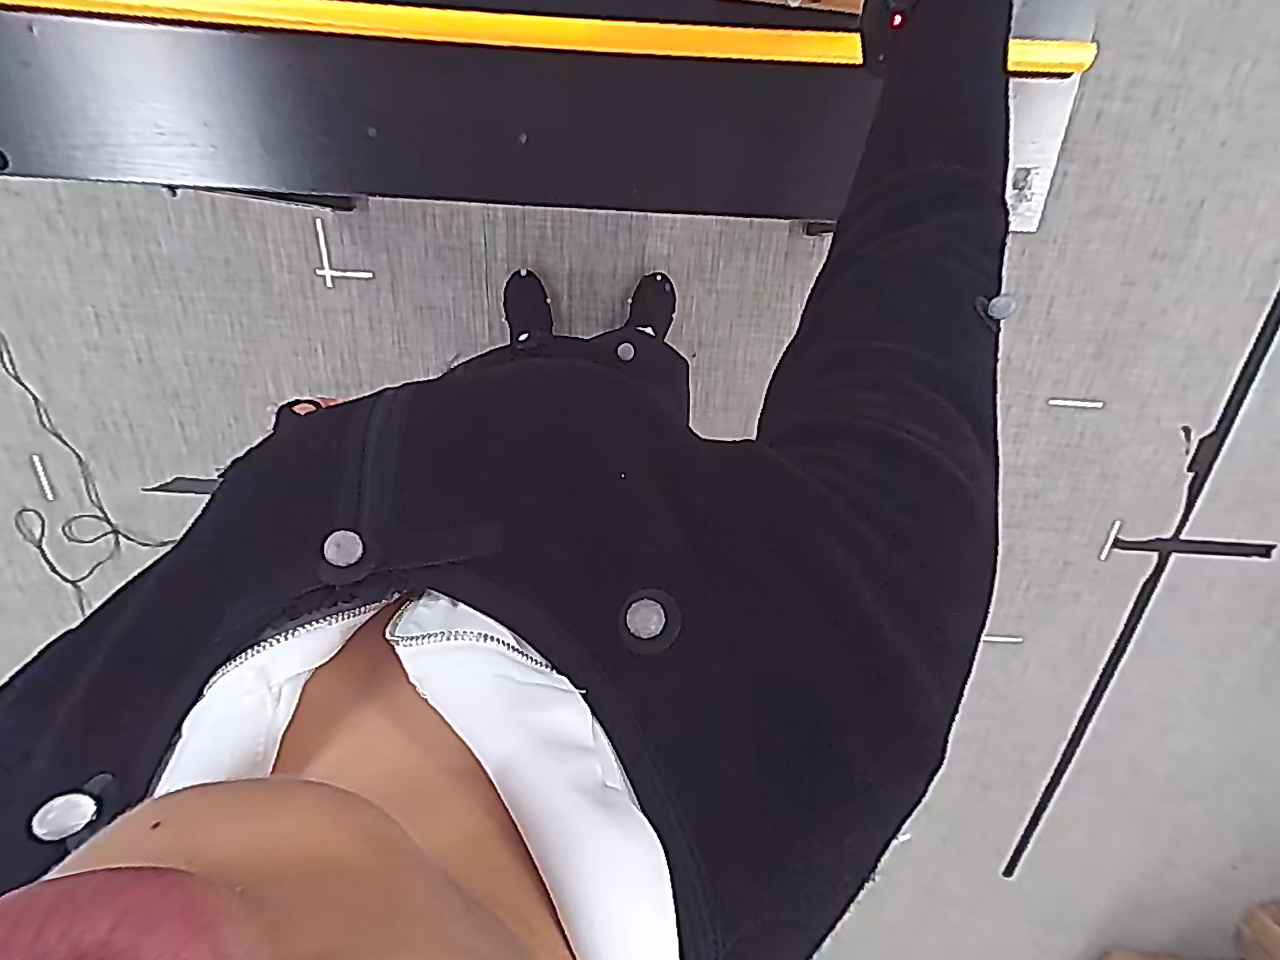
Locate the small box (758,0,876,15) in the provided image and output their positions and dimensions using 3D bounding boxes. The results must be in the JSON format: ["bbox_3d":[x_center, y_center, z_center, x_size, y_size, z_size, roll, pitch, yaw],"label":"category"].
[{"bbox_3d":[0.168,-0.545,0.458,0.168,0.176,0.179,5,113,-3],"label":"small box"}]
